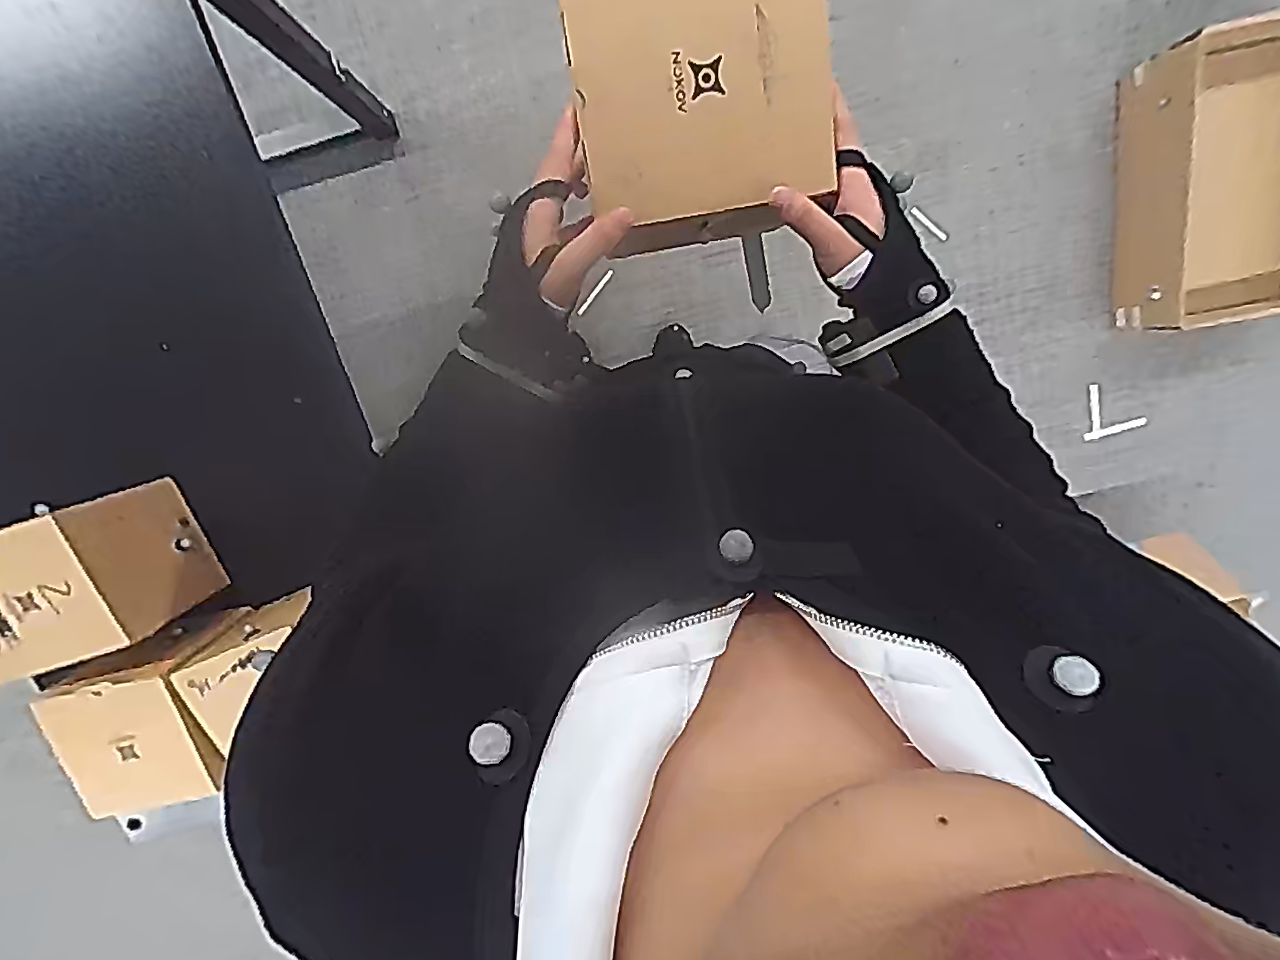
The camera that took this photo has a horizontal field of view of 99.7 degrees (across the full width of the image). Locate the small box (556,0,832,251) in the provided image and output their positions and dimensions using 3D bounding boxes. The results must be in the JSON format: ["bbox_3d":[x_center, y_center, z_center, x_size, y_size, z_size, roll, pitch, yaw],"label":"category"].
[{"bbox_3d":[0.040,-0.297,0.447,0.179,0.176,0.168,-10,107,2],"label":"small box"}]
